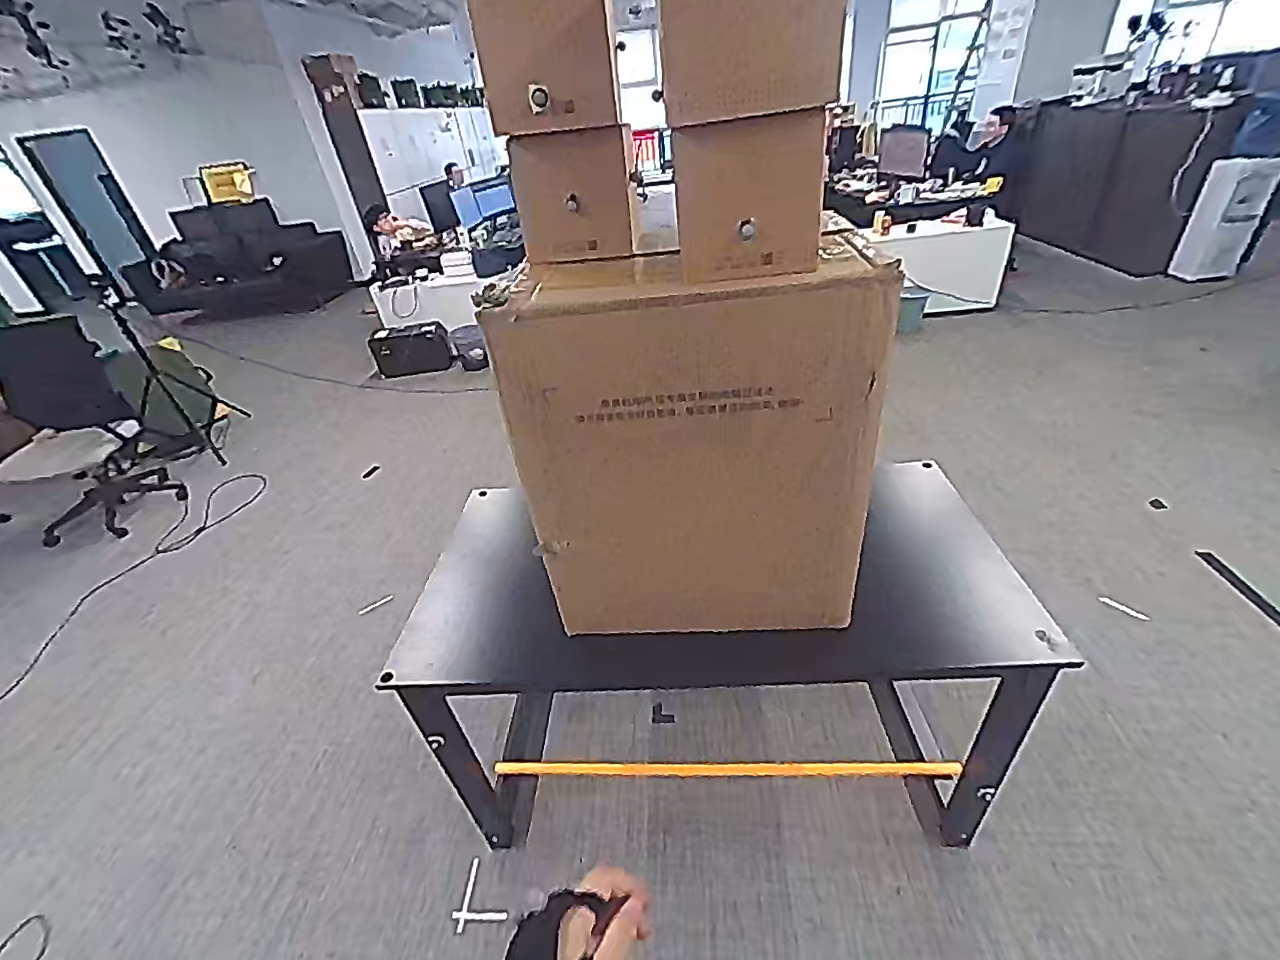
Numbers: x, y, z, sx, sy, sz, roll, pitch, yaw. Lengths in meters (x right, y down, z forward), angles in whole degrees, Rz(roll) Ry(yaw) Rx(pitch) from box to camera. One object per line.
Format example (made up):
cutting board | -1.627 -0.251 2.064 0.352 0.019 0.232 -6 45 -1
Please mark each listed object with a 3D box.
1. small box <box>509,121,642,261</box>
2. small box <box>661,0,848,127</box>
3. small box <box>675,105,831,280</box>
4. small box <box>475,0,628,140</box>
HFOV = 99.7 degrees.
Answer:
small box | -0.087 -0.445 0.840 0.168 0.176 0.179 -2 35 5
small box | 0.112 -0.479 0.565 0.179 0.176 0.168 -5 35 5
small box | 0.136 -0.362 0.682 0.168 0.176 0.179 -3 35 9
small box | -0.108 -0.560 0.721 0.168 0.176 0.179 -5 34 4
